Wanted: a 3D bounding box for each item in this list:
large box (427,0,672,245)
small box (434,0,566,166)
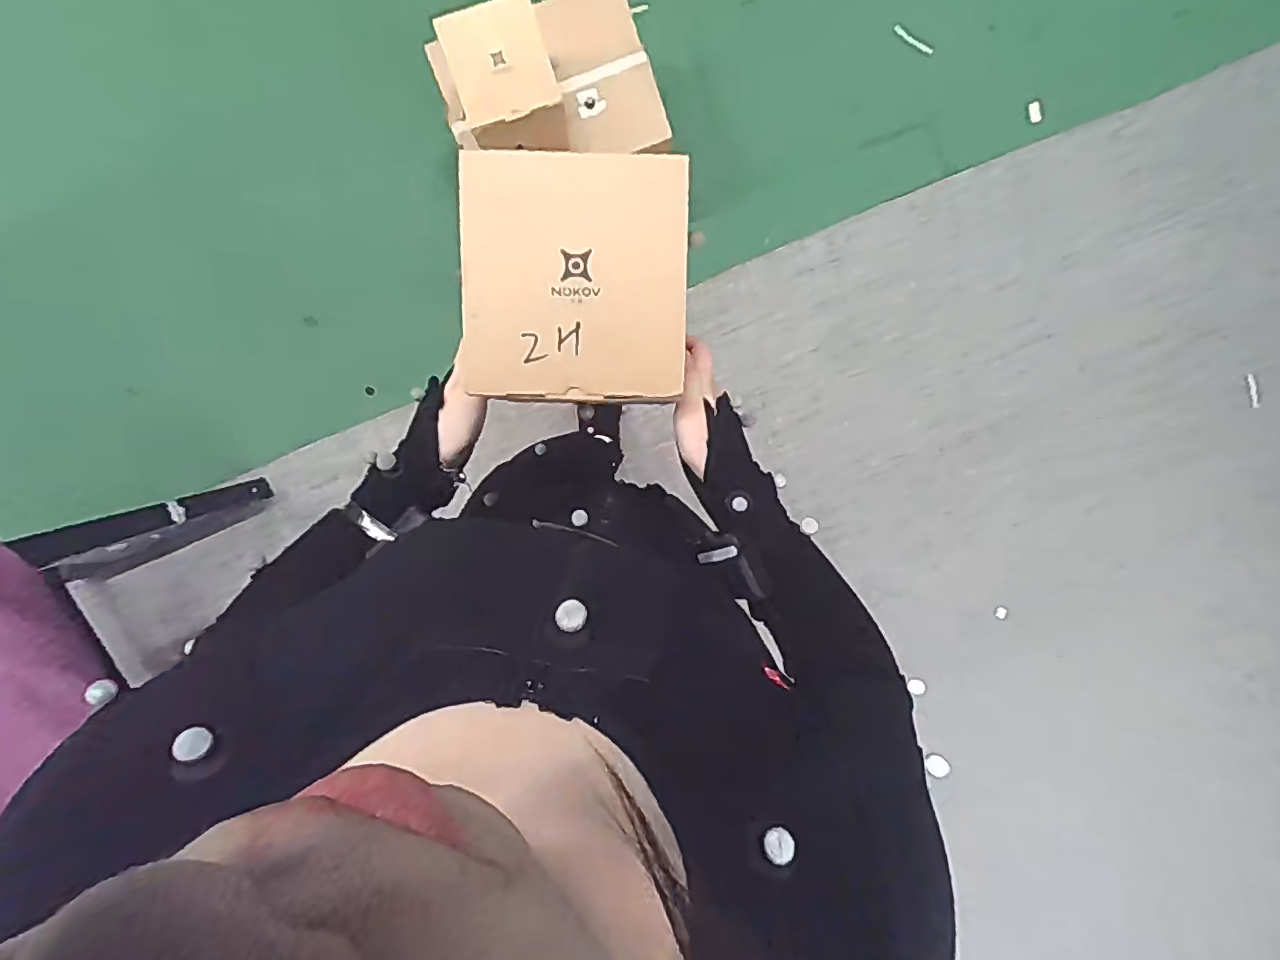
[{"bbox_3d":[-0.184,-0.780,1.199,0.408,0.320,0.320,-21,100,-1],"label":"large box"},{"bbox_3d":[-0.238,-0.701,0.961,0.168,0.176,0.179,-19,101,-1],"label":"small box"}]
